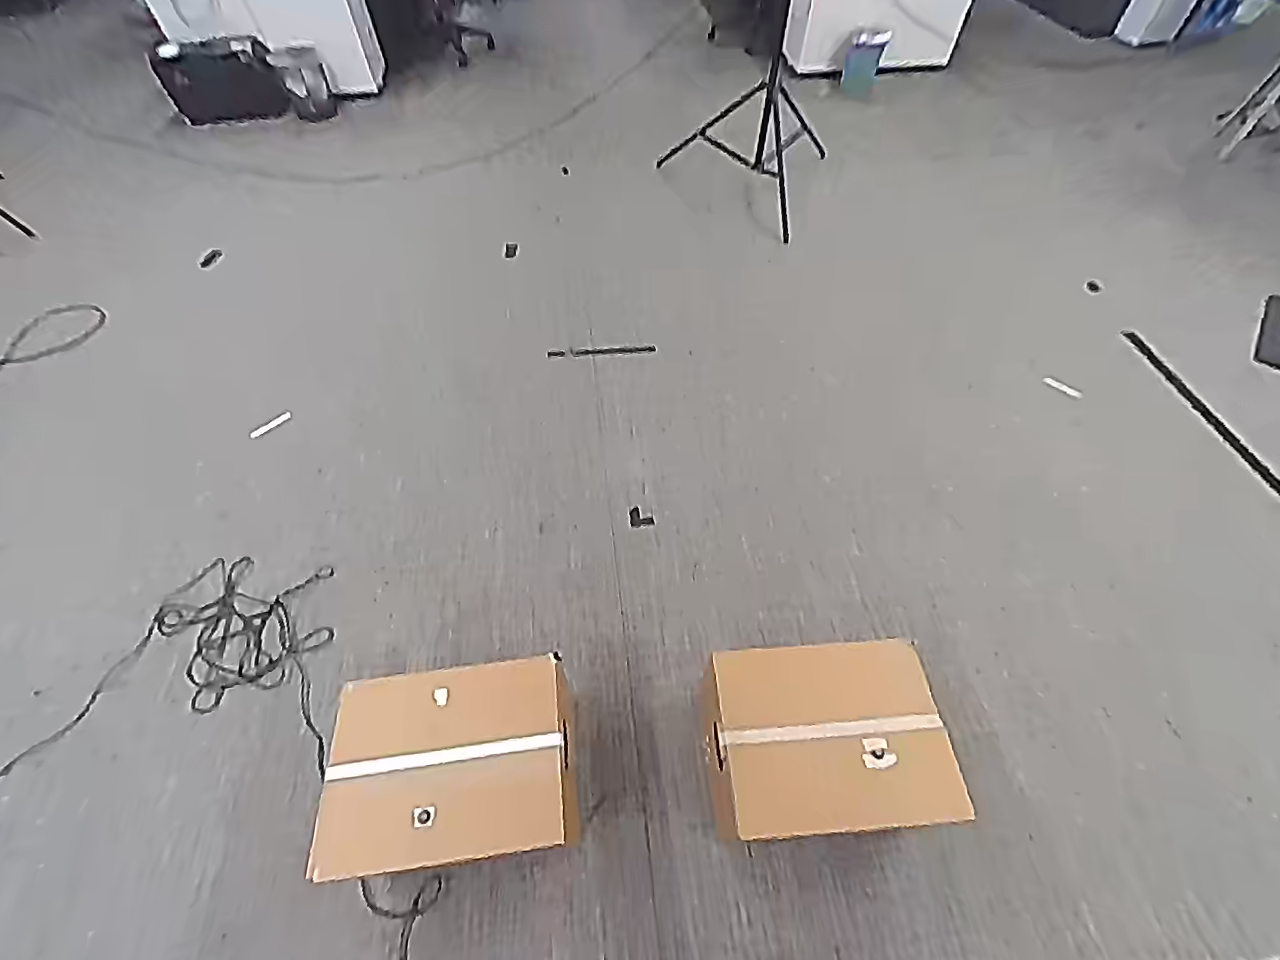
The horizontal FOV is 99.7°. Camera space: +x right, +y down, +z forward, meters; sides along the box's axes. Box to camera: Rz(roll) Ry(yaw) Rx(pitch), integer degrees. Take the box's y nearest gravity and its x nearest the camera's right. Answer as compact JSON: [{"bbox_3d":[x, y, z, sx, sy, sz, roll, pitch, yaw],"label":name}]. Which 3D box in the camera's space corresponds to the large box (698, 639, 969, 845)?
[{"bbox_3d":[0.351,0.544,1.116,0.408,0.320,0.320,-3,55,-3],"label":"large box"}]
